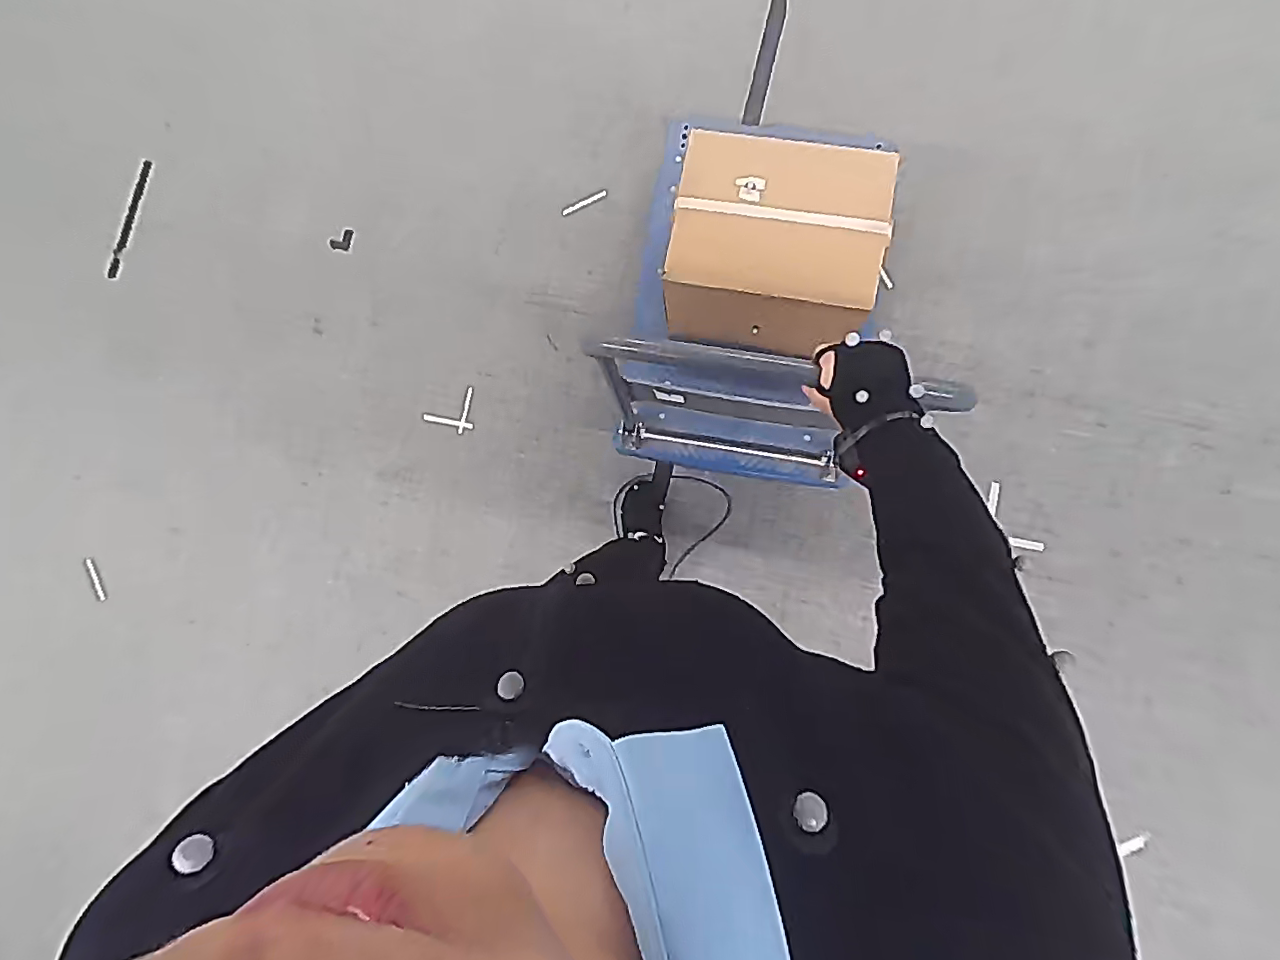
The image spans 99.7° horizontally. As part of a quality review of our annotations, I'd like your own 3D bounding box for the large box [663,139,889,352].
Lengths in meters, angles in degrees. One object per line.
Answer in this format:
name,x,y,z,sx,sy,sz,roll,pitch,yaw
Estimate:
large box,0.282,-0.496,1.202,0.408,0.320,0.320,10,86,7
